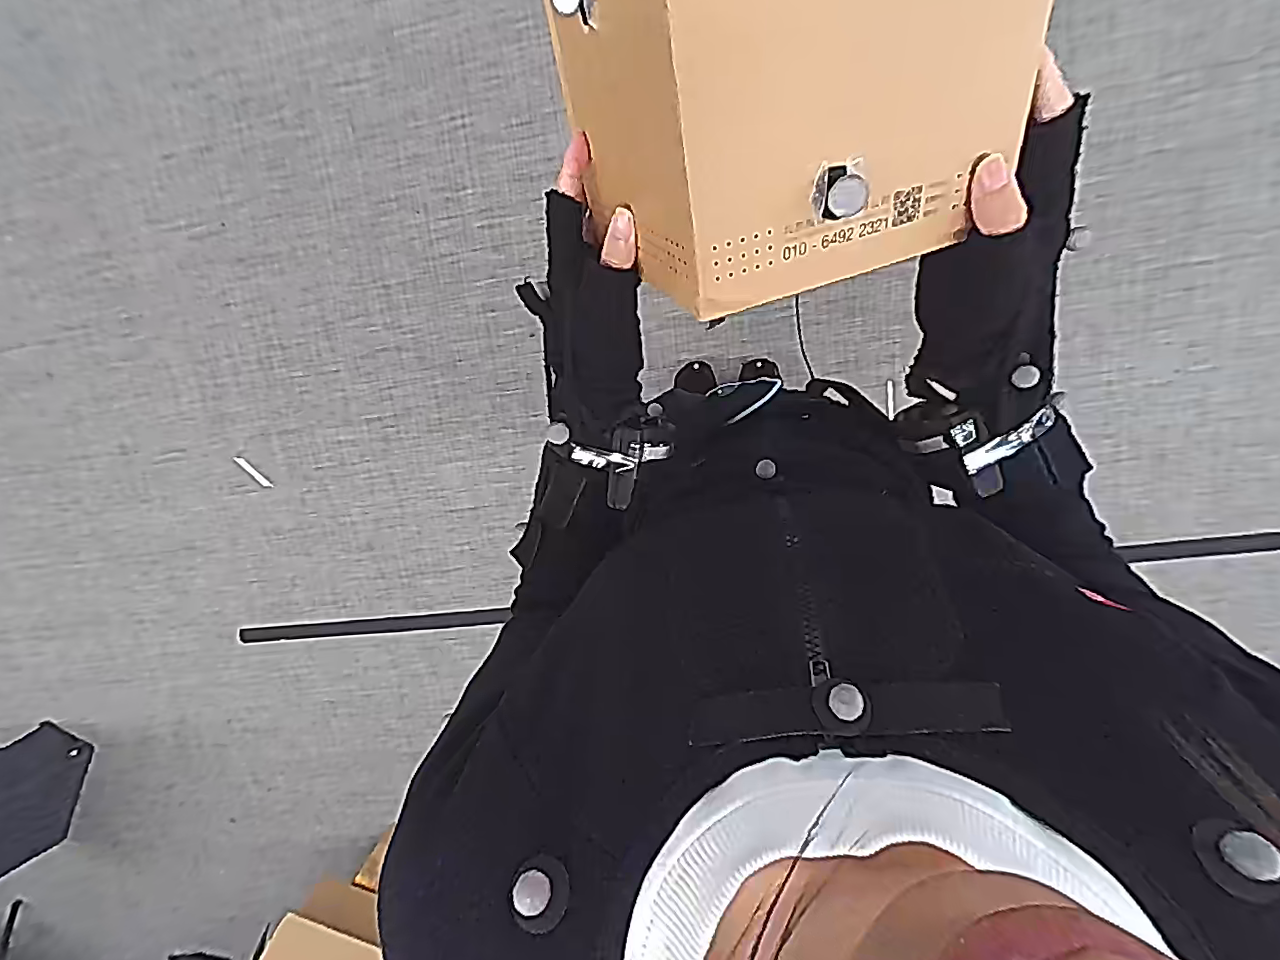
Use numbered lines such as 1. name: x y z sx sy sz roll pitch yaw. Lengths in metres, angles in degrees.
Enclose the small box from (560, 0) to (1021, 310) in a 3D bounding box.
1. small box: 0.062 -0.209 0.288 0.168 0.179 0.176 -20 128 -8
